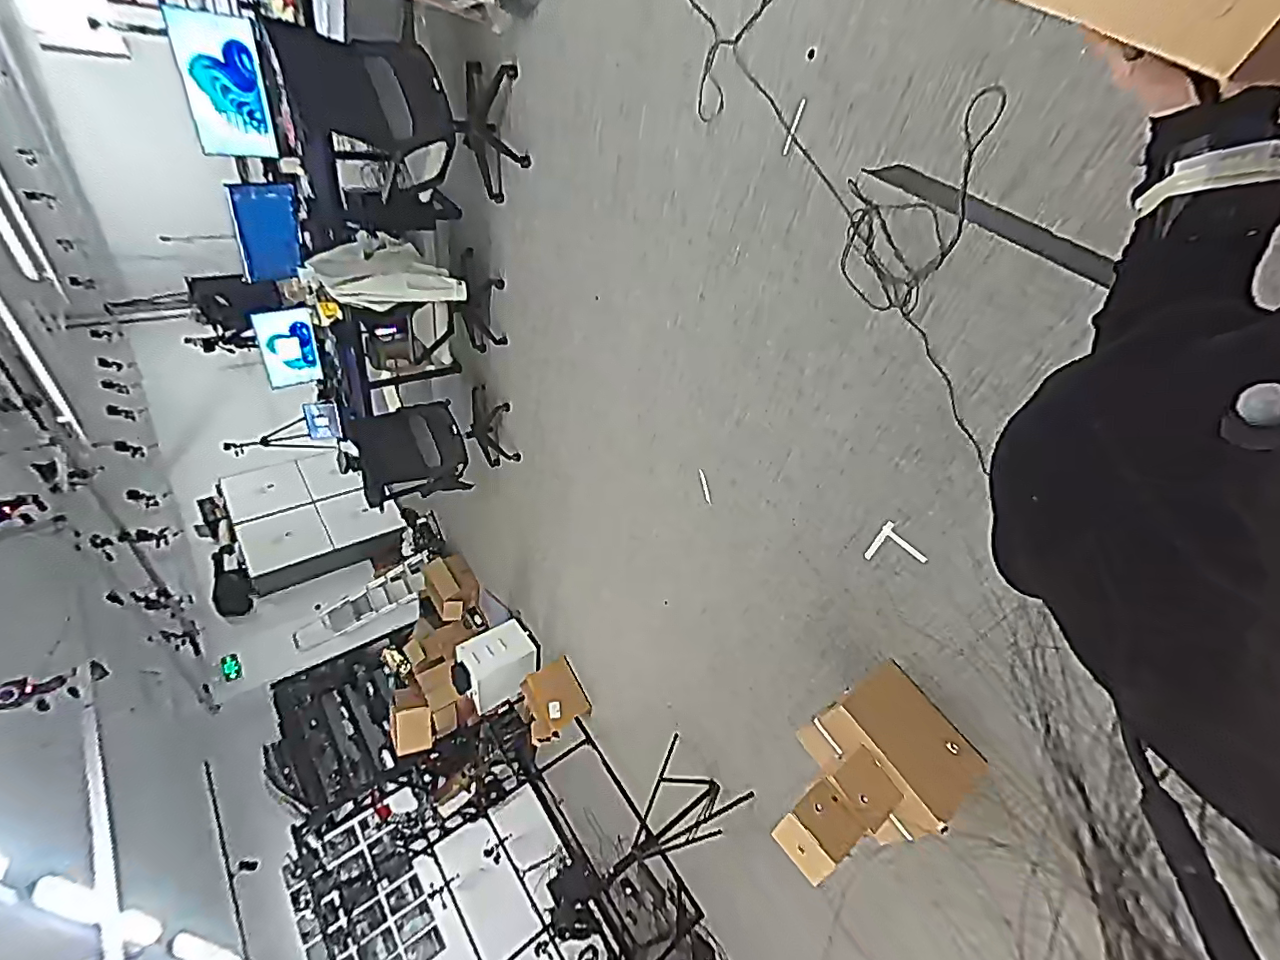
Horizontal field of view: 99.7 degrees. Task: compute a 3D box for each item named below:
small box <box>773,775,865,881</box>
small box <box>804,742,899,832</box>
[{"bbox_3d":[0.520,1.000,1.563,0.168,0.176,0.179,42,139,35],"label":"small box"},{"bbox_3d":[0.646,0.938,1.646,0.179,0.176,0.168,53,143,23],"label":"small box"}]
